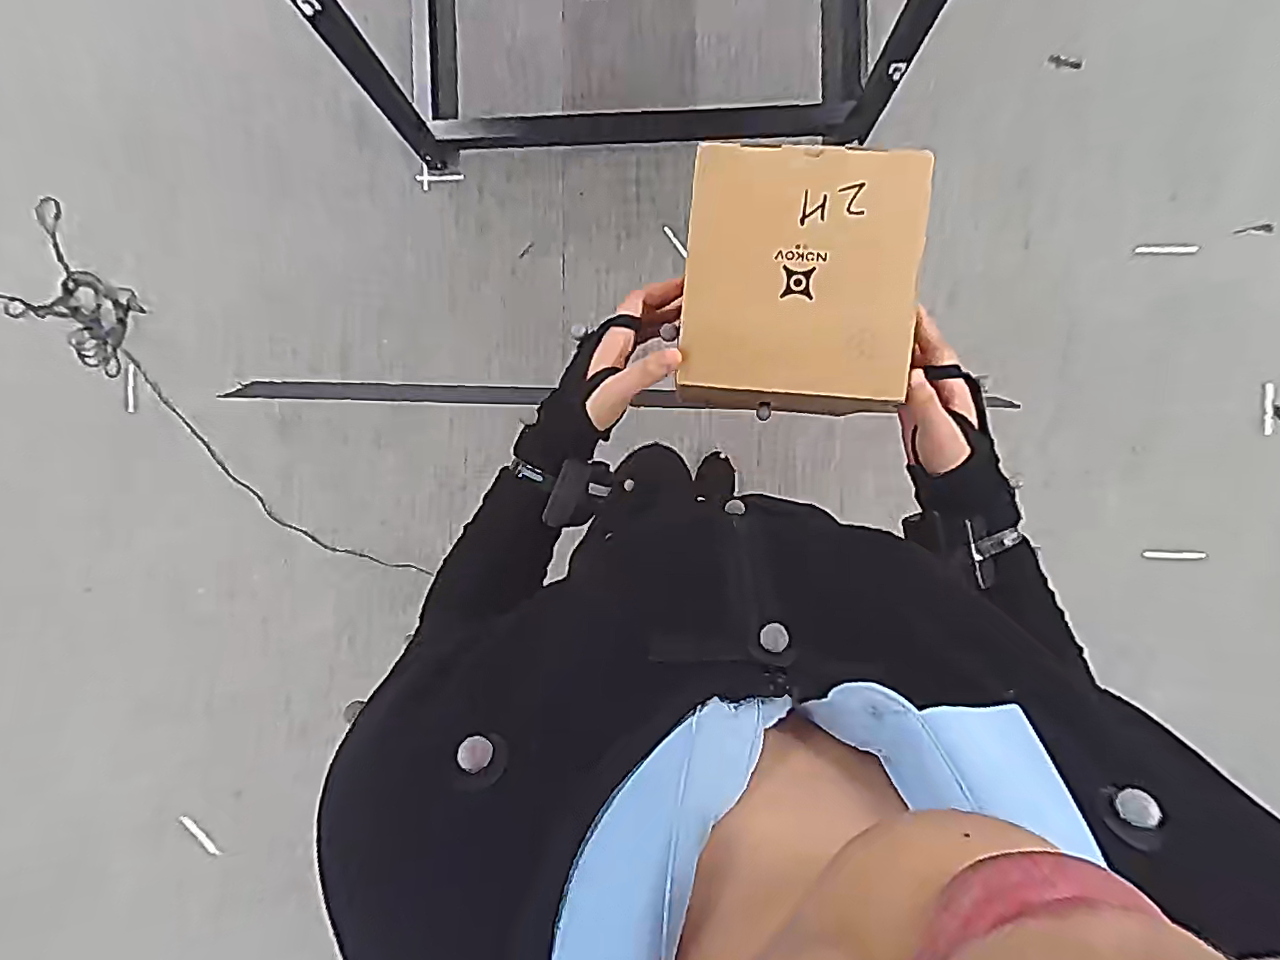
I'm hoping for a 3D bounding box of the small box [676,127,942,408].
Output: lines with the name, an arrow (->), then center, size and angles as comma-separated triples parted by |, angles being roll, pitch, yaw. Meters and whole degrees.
small box -> 0.124, -0.158, 0.456 | 0.168, 0.176, 0.179 | 6, 93, 6
